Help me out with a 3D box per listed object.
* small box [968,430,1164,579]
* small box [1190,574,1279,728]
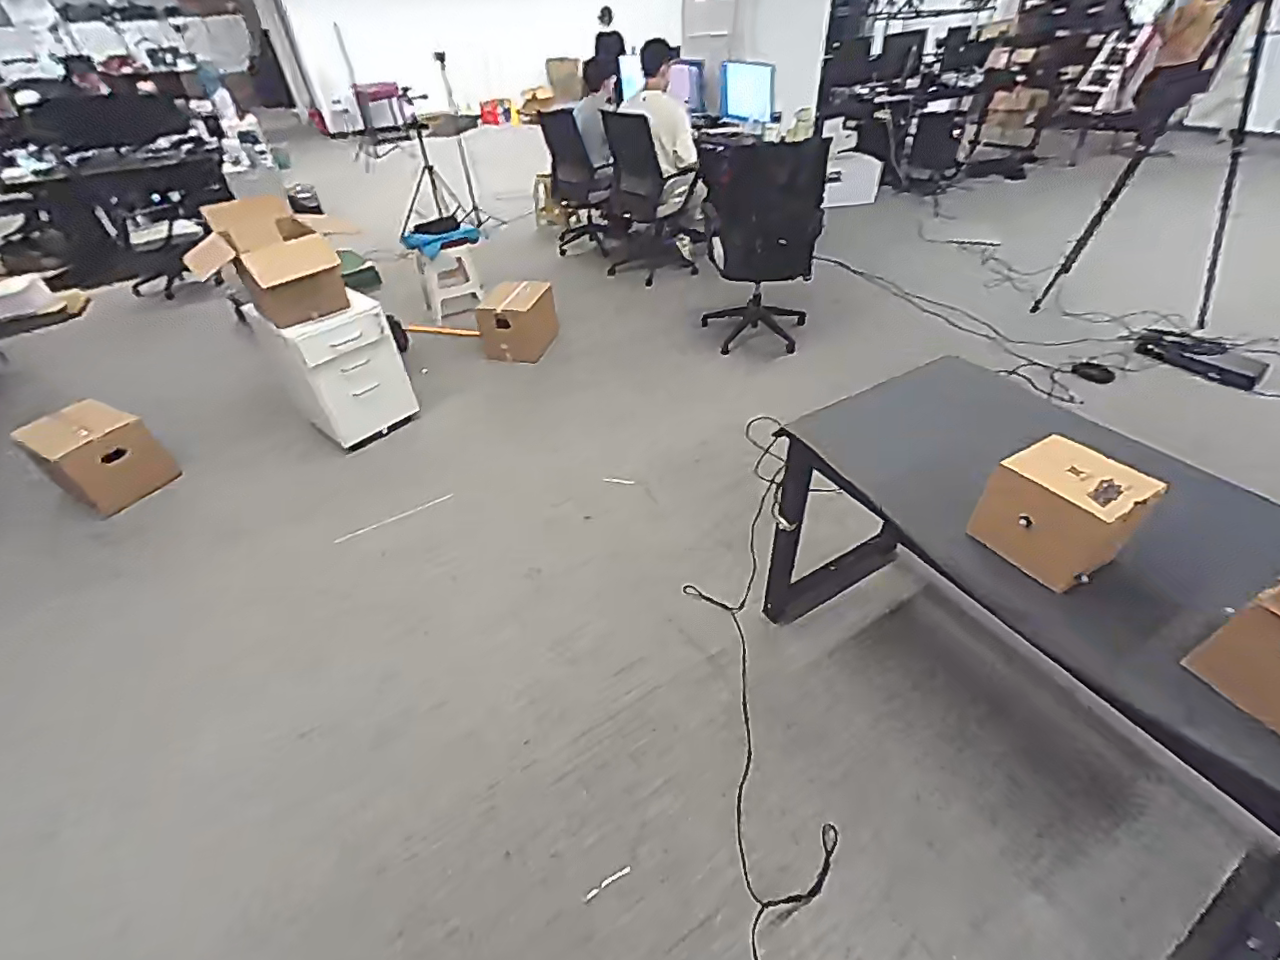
[{"bbox_3d":[0.715,0.046,0.927,0.168,0.176,0.179,-21,42,-21],"label":"small box"},{"bbox_3d":[0.900,0.226,0.706,0.168,0.176,0.179,-20,44,-18],"label":"small box"}]
